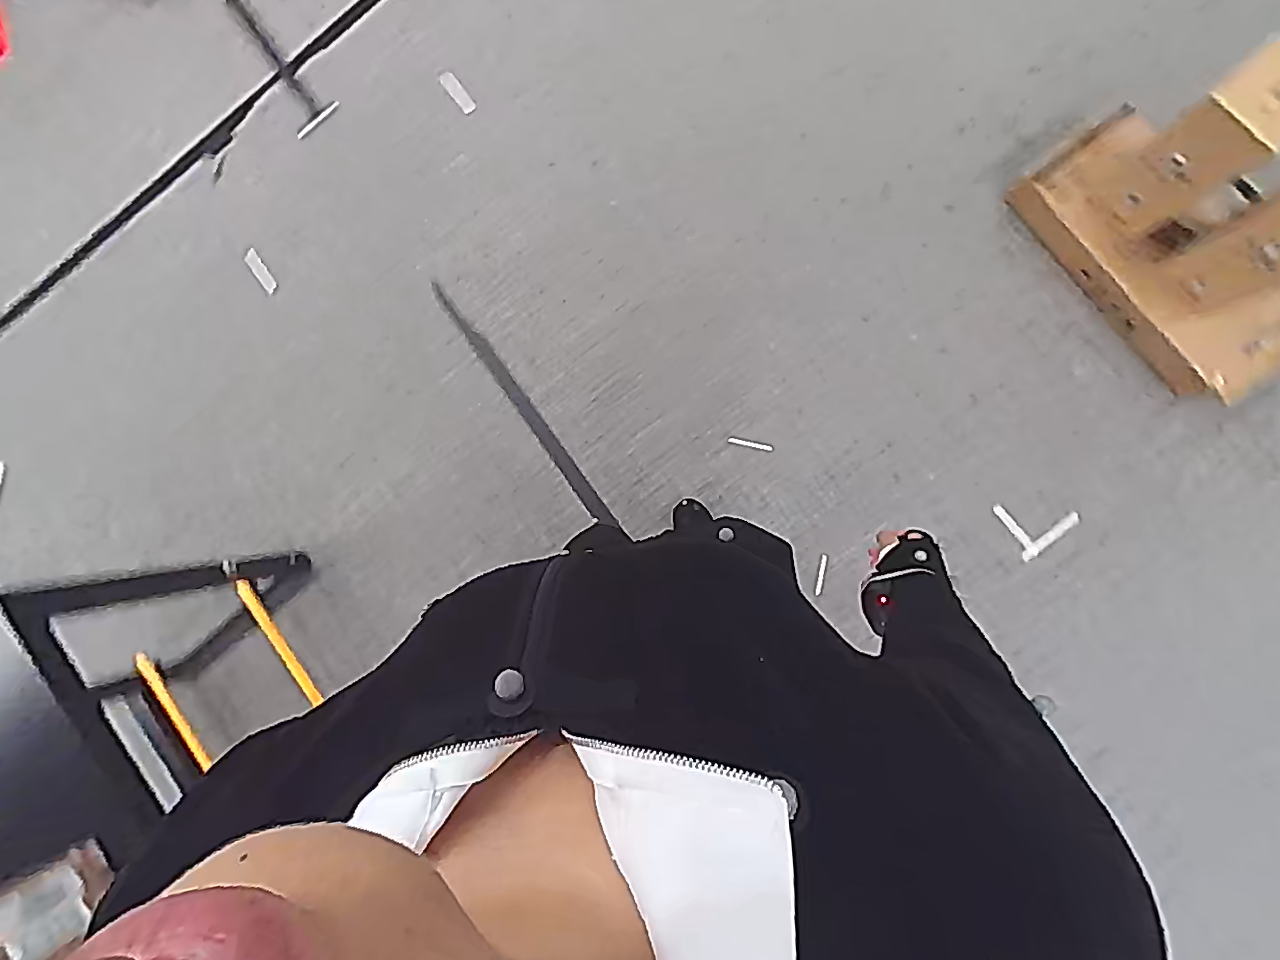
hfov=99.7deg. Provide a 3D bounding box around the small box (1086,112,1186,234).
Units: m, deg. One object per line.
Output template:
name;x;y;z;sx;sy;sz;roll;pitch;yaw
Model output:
small box;1.180;-0.705;1.234;0.179;0.176;0.168;-40;85;3

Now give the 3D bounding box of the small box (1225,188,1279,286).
small box;1.330;-0.516;1.048;0.179;0.176;0.168;-35;84;3

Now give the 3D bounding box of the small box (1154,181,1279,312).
small box;1.336;-0.514;1.212;0.179;0.176;0.168;-39;85;2

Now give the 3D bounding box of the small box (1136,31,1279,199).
small box;1.164;-0.710;1.071;0.179;0.176;0.168;-43;84;3
